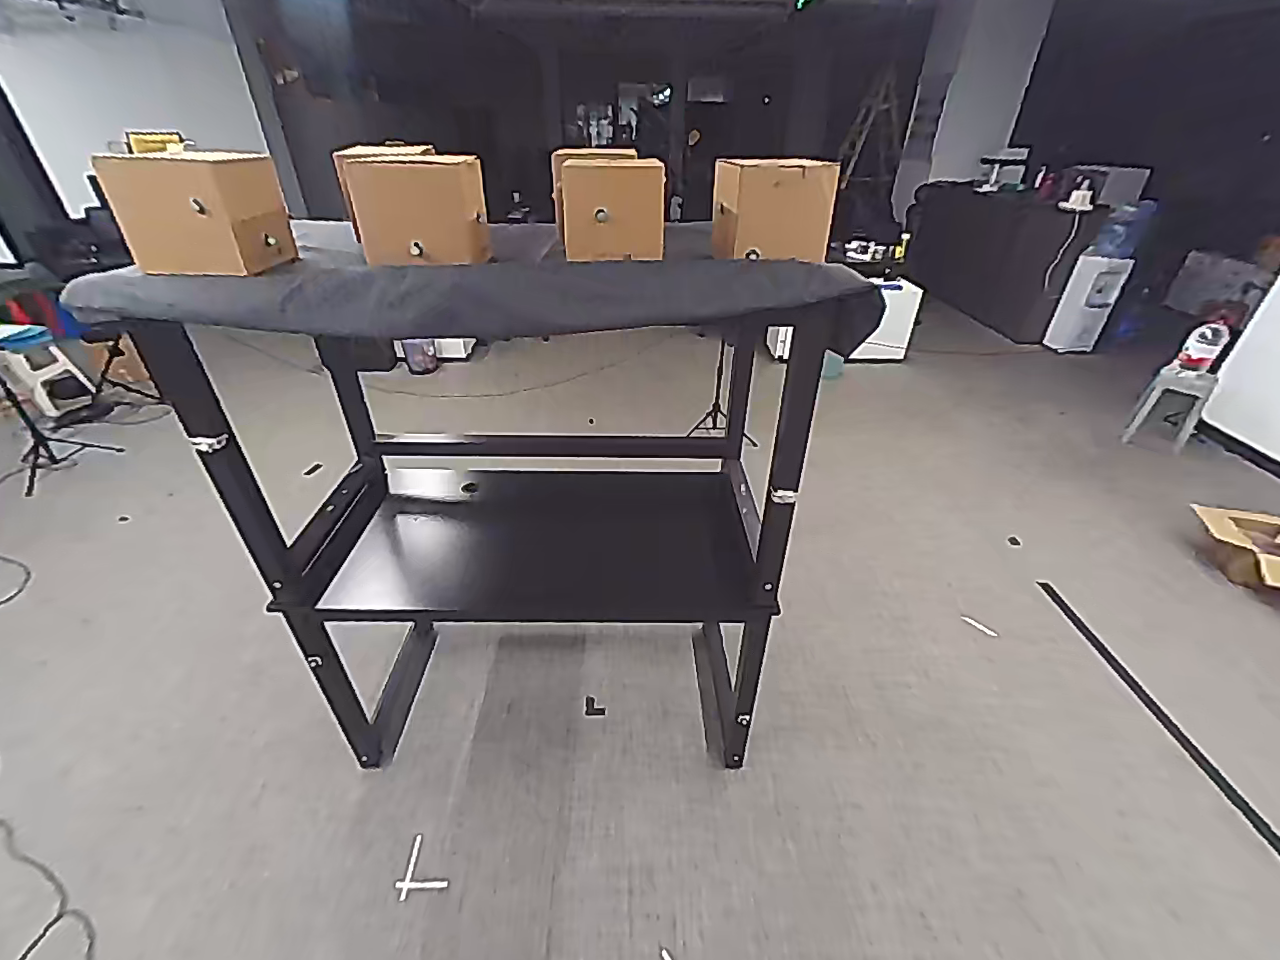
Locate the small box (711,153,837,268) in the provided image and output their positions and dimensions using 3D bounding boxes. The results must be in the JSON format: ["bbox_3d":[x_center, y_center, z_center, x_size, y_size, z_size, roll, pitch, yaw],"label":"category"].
[{"bbox_3d":[0.226,-0.478,0.962,0.168,0.176,0.179,-4,32,-5],"label":"small box"}]

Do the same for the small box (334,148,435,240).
[{"bbox_3d":[-0.530,-0.621,1.175,0.168,0.176,0.179,-5,34,-6],"label":"small box"}]

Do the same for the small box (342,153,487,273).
[{"bbox_3d":[-0.371,-0.460,0.932,0.179,0.176,0.168,0,32,-2],"label":"small box"}]

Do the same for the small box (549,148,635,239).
[{"bbox_3d":[-0.097,-0.636,1.201,0.179,0.176,0.168,0,34,-1],"label":"small box"}]

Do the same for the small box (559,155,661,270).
[{"bbox_3d":[-0.049,-0.478,0.965,0.168,0.176,0.179,-2,33,-3],"label":"small box"}]
